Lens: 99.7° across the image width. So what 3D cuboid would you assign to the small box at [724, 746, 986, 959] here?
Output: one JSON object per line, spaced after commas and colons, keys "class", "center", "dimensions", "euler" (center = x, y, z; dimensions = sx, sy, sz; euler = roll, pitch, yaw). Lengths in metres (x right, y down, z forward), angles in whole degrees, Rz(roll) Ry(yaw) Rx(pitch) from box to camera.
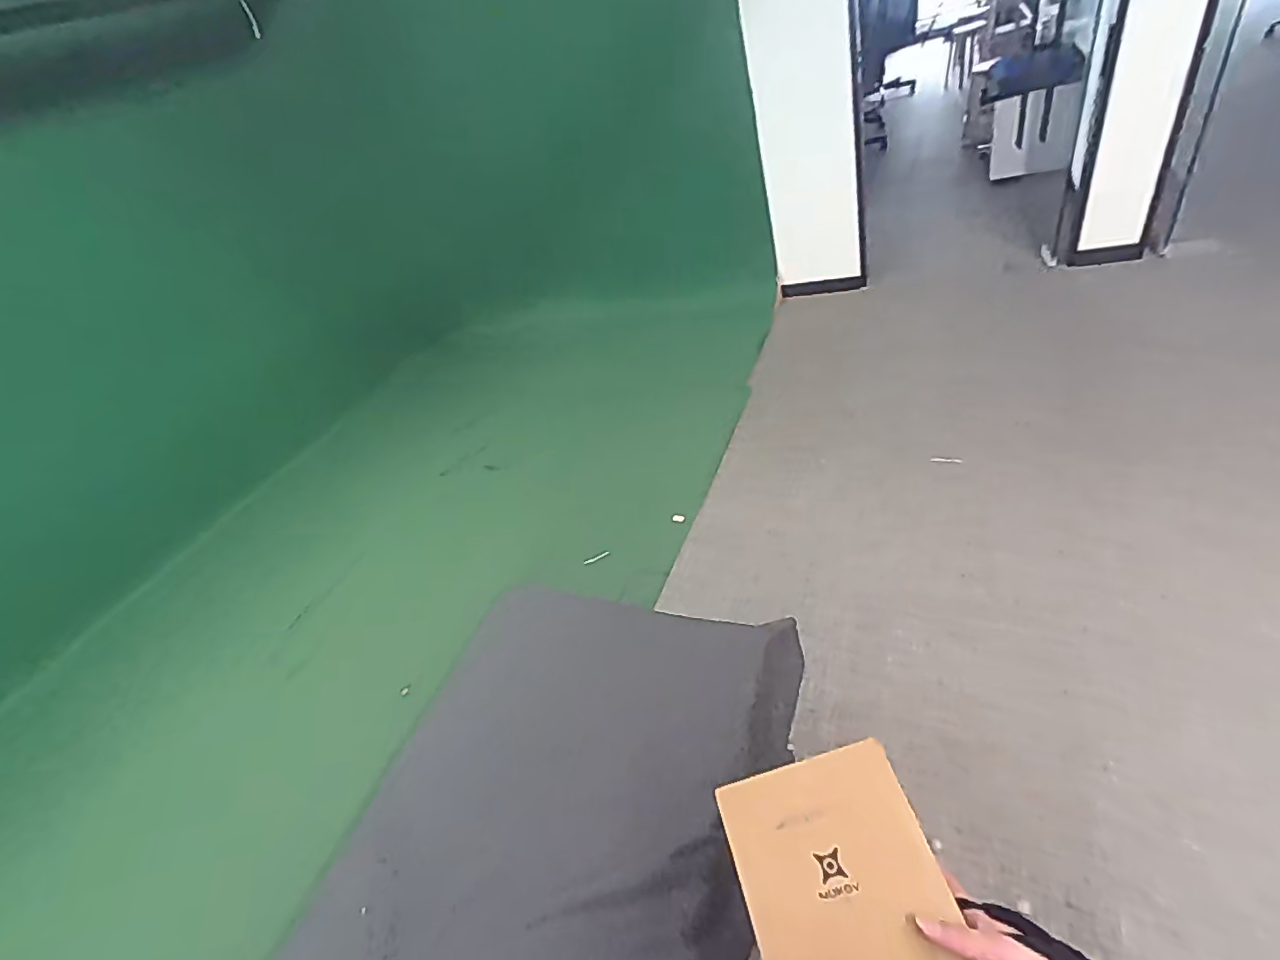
{"class": "small box", "center": [0.202, 0.388, 0.534], "dimensions": [0.168, 0.176, 0.179], "euler": [-23, 53, 5]}
